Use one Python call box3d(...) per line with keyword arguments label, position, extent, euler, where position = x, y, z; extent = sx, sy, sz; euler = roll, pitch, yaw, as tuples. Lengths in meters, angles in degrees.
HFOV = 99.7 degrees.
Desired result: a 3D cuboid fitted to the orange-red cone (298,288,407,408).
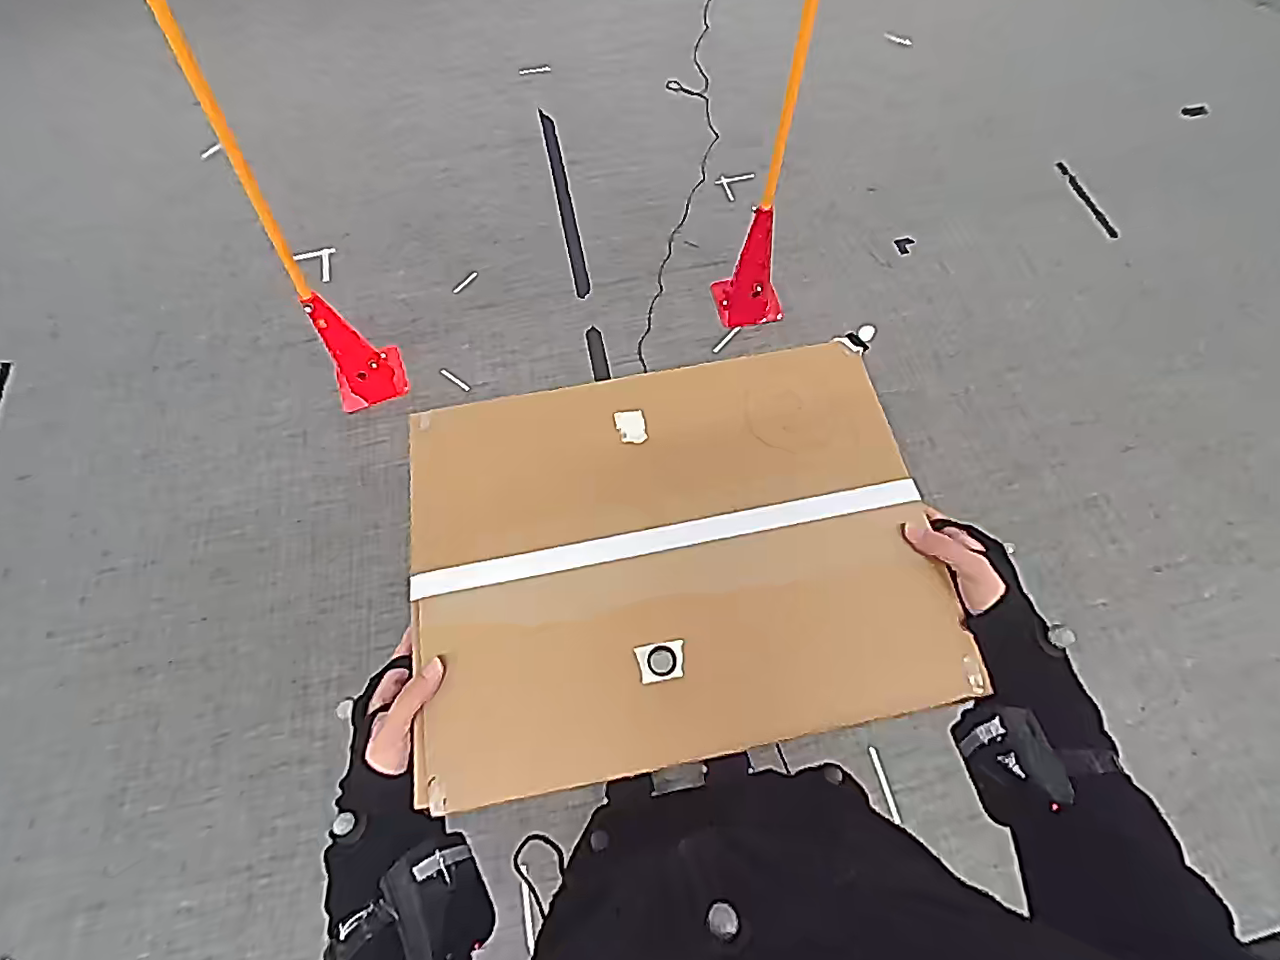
box3d(label="orange-red cone", position=(-0.829, -0.389, 1.503), extent=(0.199, 0.360, 0.198), euler=(-20, 66, -7))
